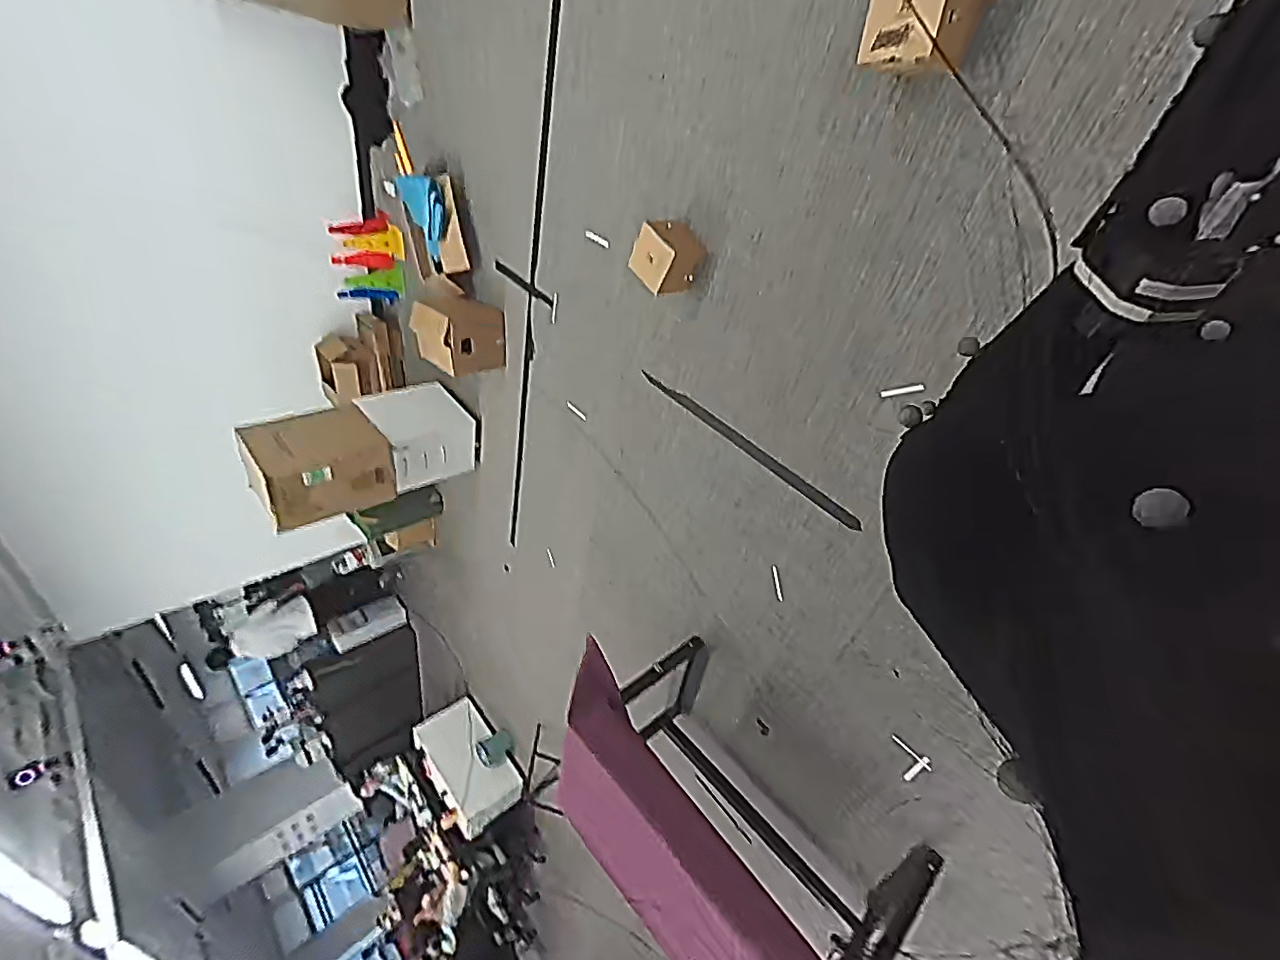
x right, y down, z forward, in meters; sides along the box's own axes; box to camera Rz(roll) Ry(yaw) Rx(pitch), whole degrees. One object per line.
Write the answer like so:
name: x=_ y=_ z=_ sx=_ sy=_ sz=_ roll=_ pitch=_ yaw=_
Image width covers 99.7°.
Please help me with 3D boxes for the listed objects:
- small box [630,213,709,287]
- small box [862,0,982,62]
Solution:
small box: x=0.101 y=-0.786 z=1.846 sx=0.179 sy=0.176 sz=0.168 roll=52 pitch=140 yaw=18
small box: x=0.607 y=-1.008 z=1.147 sx=0.168 sy=0.176 sz=0.179 roll=30 pitch=128 yaw=38
